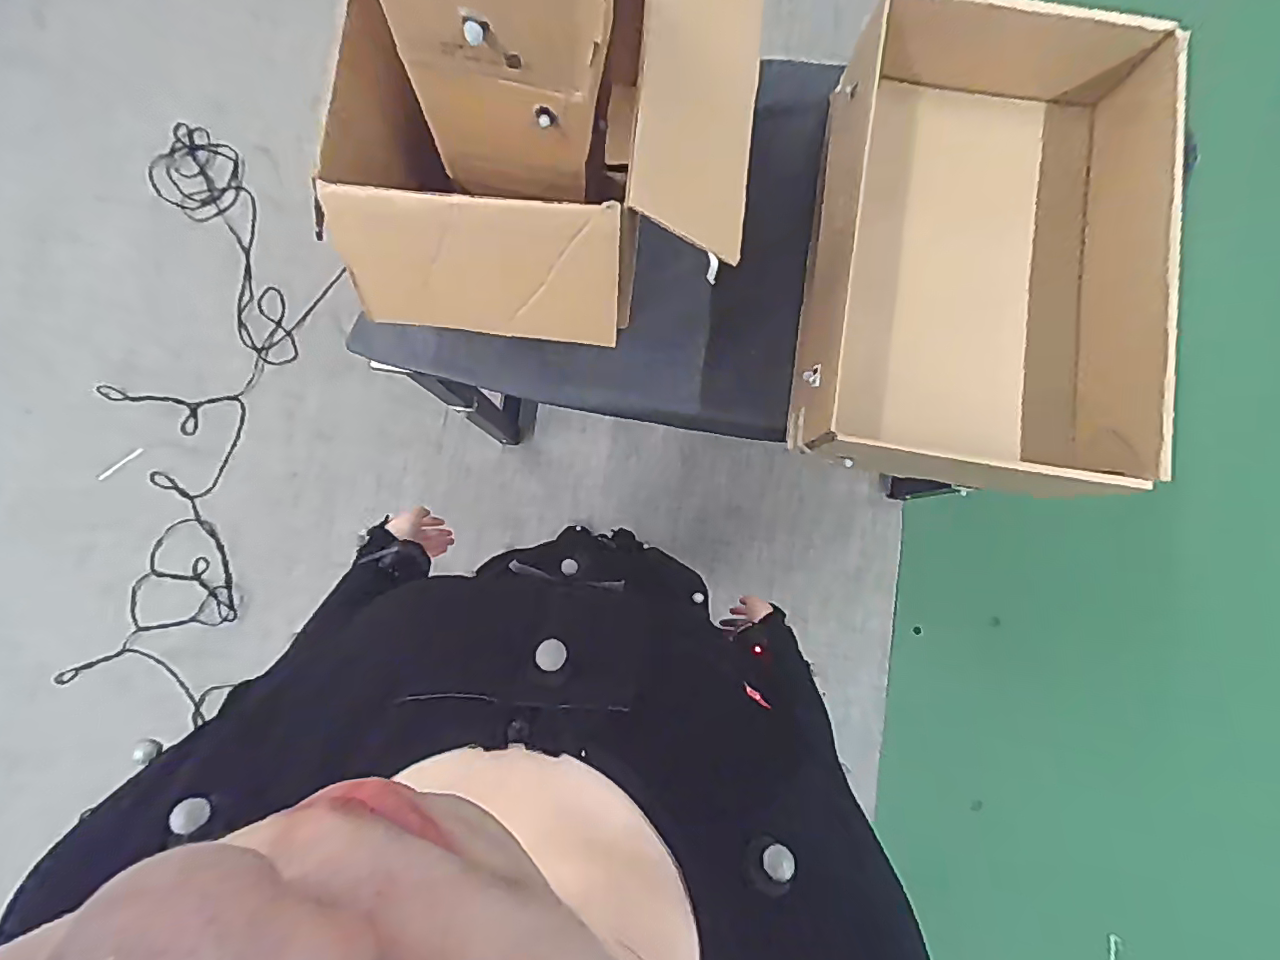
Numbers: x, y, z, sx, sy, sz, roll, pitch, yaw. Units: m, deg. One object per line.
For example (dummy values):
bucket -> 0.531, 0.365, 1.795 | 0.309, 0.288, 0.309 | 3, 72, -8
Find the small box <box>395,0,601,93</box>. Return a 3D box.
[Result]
small box -> -0.113, -0.464, 0.429 | 0.168, 0.176, 0.179 | 7, 83, -5
